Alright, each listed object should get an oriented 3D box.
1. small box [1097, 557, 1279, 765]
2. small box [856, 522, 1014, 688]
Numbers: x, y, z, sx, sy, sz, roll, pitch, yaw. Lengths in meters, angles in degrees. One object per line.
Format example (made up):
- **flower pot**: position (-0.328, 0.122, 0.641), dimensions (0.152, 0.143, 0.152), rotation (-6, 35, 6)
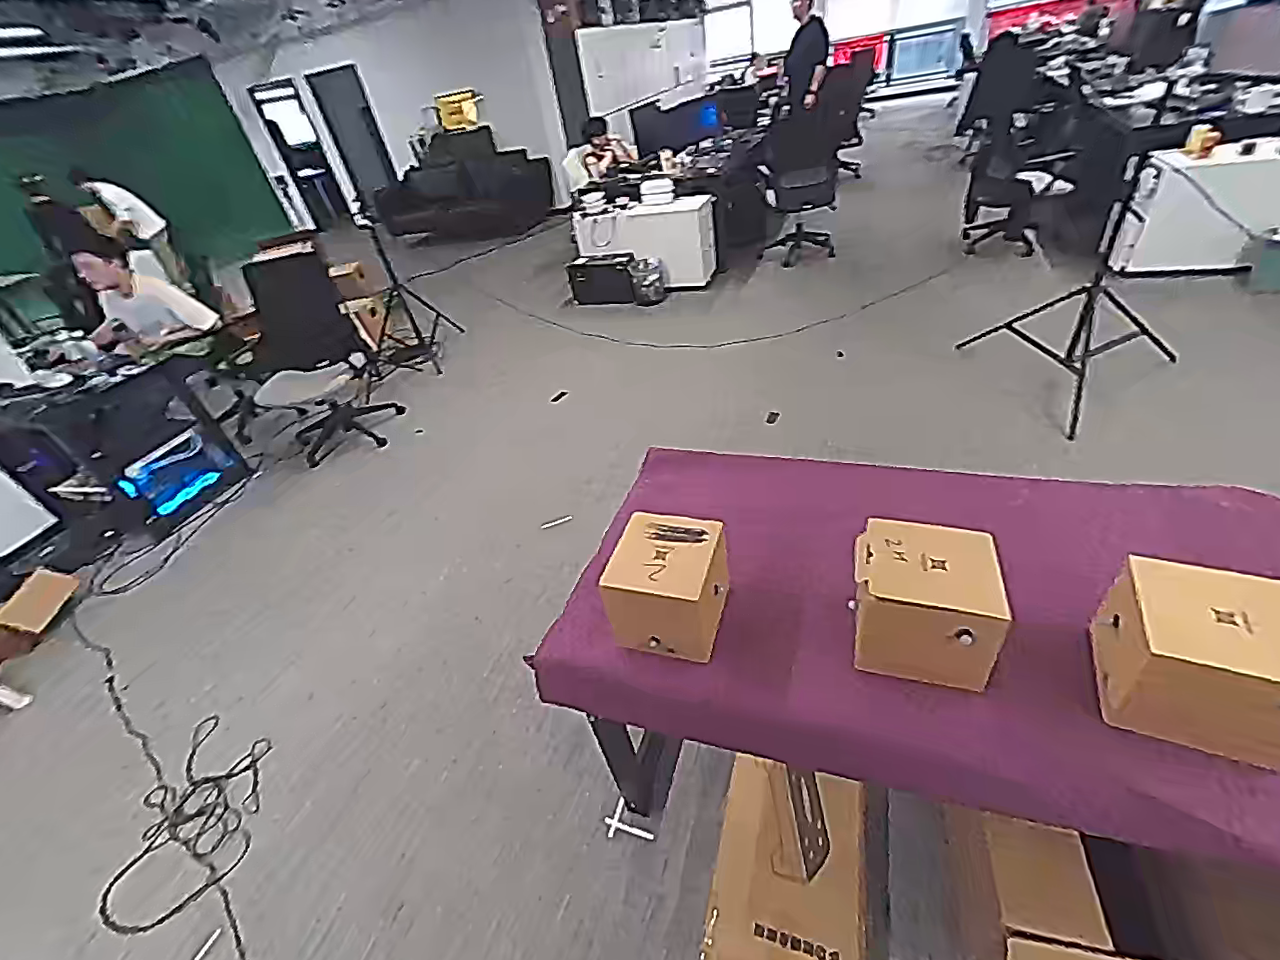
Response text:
- **small box**: position (0.721, 0.228, 0.691), dimensions (0.179, 0.176, 0.168), rotation (10, 43, 26)
- **small box**: position (0.431, 0.188, 0.818), dimensions (0.179, 0.176, 0.168), rotation (5, 38, 20)
